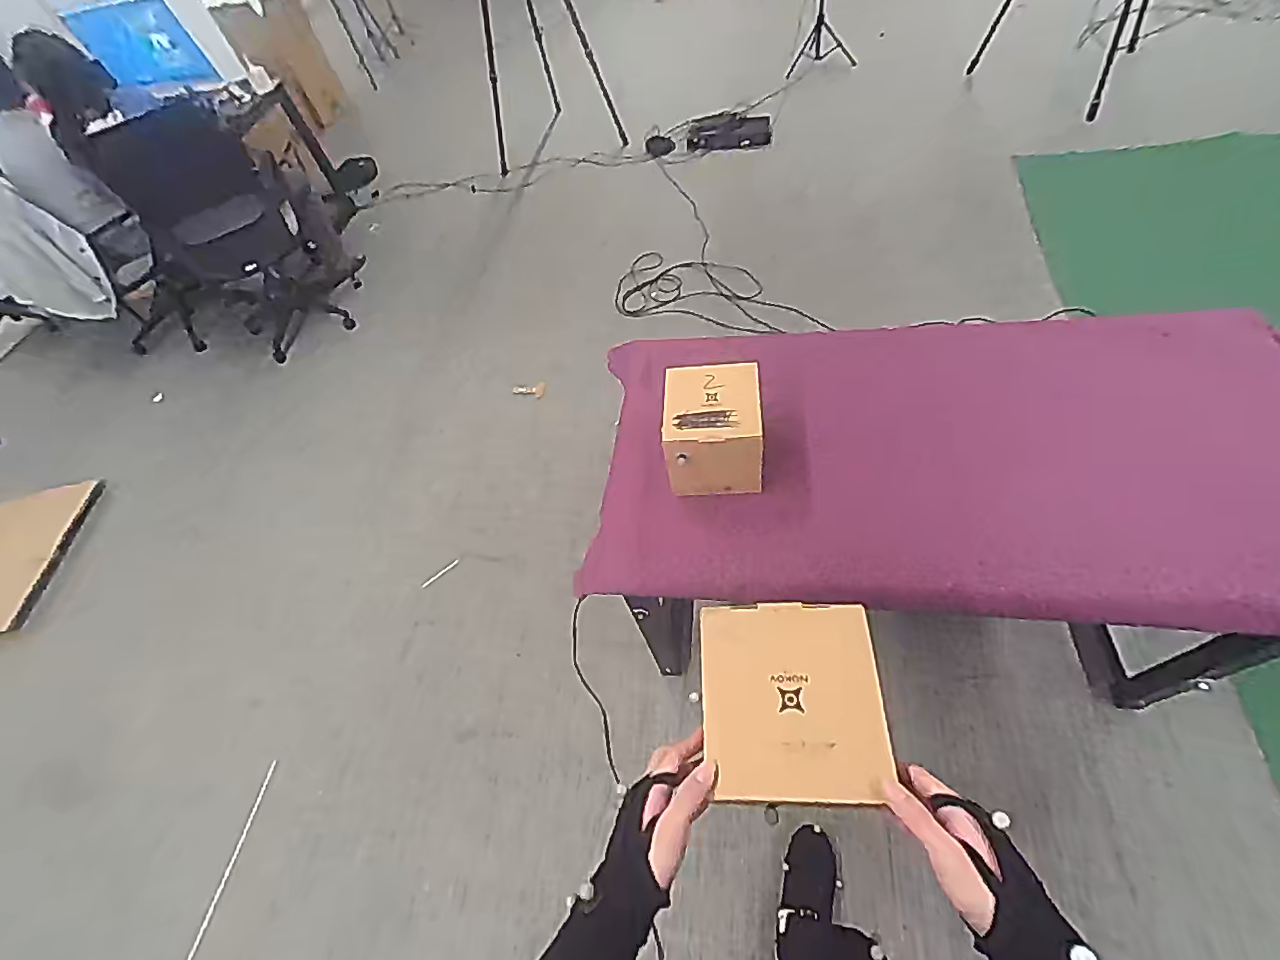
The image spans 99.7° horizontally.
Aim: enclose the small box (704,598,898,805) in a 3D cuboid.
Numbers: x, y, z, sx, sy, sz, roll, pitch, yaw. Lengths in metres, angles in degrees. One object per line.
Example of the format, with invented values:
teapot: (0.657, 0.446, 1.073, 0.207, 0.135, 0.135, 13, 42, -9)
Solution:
small box: (0.152, 0.238, 0.576, 0.168, 0.176, 0.179, -2, 58, 8)
